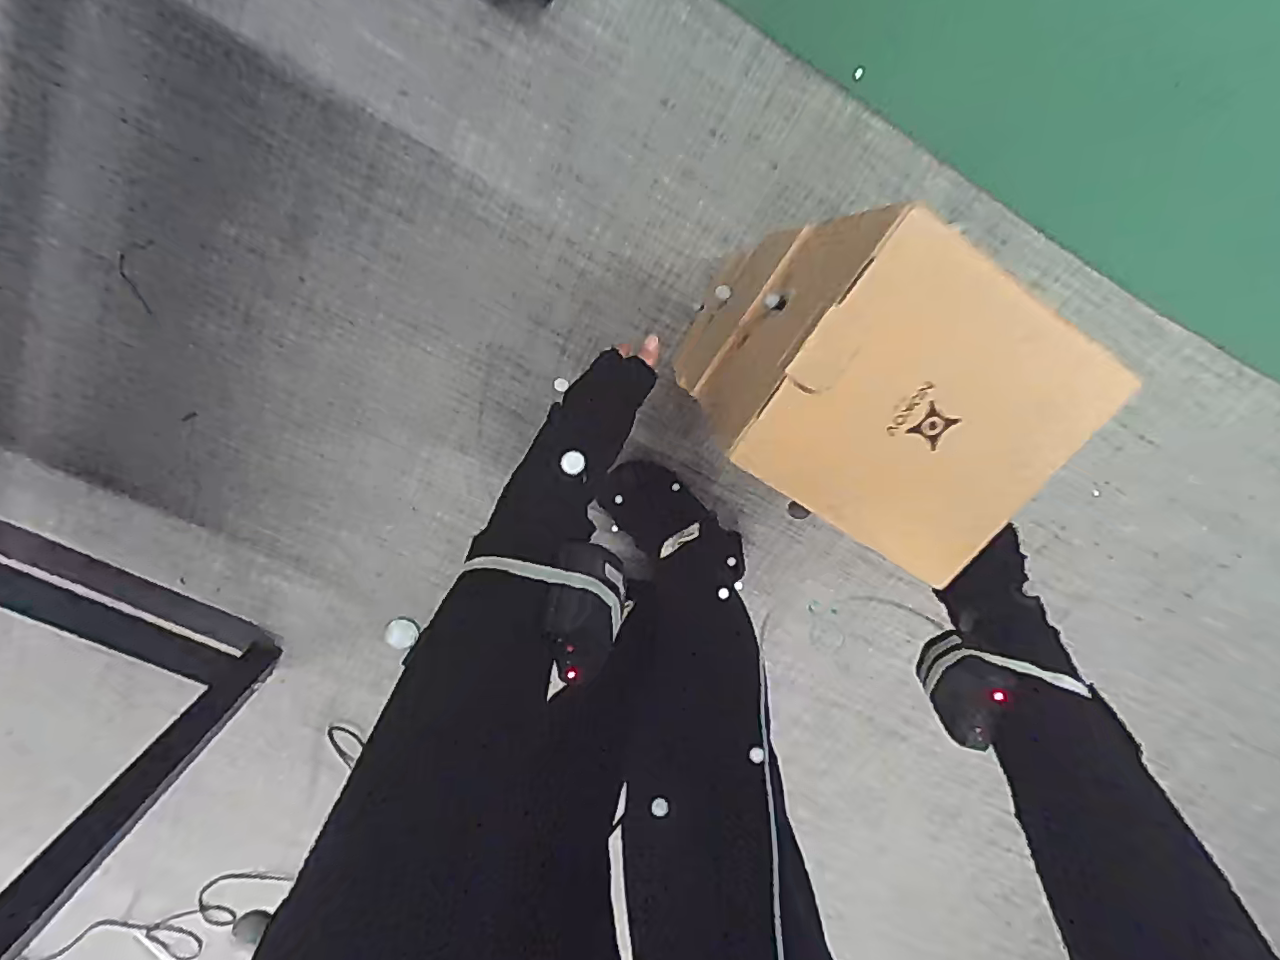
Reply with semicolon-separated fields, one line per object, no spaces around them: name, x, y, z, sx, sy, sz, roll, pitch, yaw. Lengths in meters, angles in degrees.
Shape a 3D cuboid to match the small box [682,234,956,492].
small box;0.159;-0.123;0.545;0.179;0.176;0.168;33;109;-12
